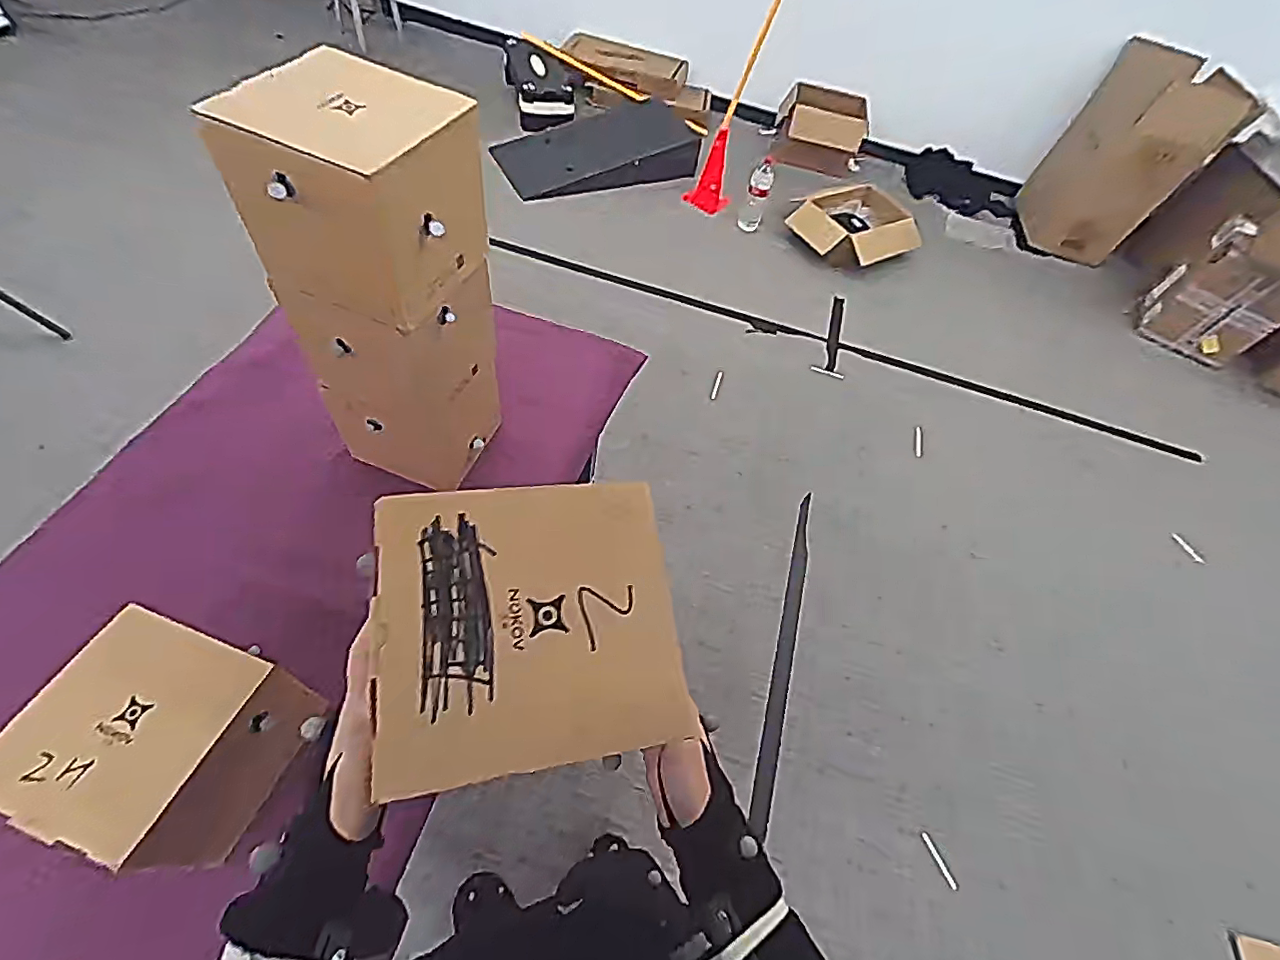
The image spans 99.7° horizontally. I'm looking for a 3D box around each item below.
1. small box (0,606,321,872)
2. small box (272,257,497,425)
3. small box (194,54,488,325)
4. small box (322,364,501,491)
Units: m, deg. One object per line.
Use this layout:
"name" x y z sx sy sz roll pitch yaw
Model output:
"small box" -0.463 0.262 0.550 0.168 0.176 0.179 20 56 5
"small box" -0.302 -0.197 0.685 0.179 0.176 0.168 22 56 6
"small box" -0.274 -0.285 0.550 0.179 0.176 0.168 22 56 6
"small box" -0.329 -0.108 0.820 0.179 0.176 0.168 20 56 4
